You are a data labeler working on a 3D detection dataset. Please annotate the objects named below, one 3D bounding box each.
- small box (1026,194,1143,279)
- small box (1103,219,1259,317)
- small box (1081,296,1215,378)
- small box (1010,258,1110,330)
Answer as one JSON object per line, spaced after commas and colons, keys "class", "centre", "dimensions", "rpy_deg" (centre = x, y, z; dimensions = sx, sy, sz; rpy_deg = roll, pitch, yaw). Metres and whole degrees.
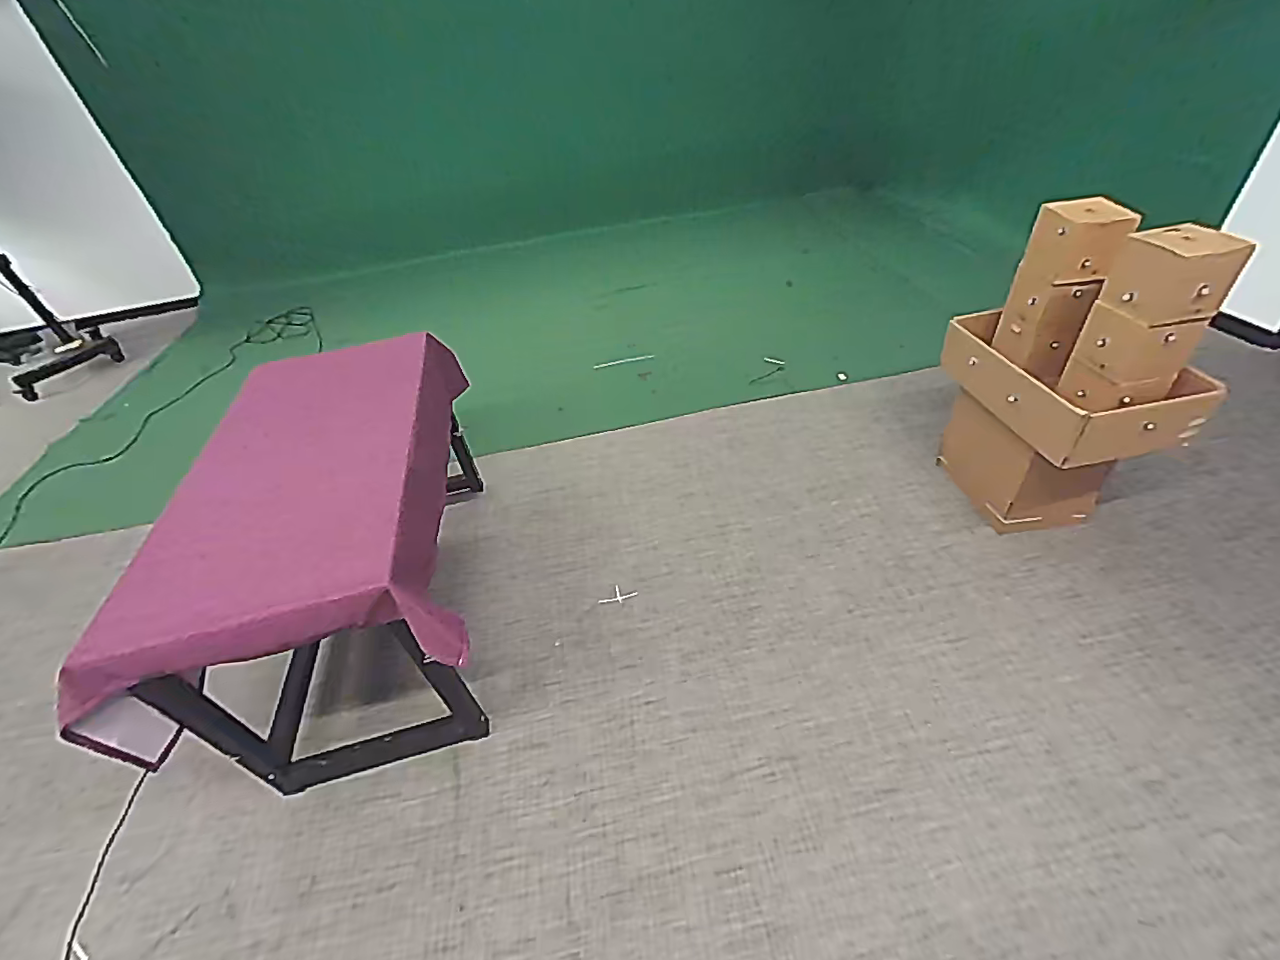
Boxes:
{"class": "small box", "centre": [1.243, -0.688, 1.532], "dimensions": [0.168, 0.176, 0.179], "rpy_deg": [-5, 43, 4]}
{"class": "small box", "centre": [1.292, -0.508, 1.309], "dimensions": [0.168, 0.176, 0.179], "rpy_deg": [-10, 41, 0]}
{"class": "small box", "centre": [1.311, -0.386, 1.418], "dimensions": [0.179, 0.176, 0.168], "rpy_deg": [-11, 41, -1]}
{"class": "small box", "centre": [1.267, -0.572, 1.643], "dimensions": [0.179, 0.176, 0.168], "rpy_deg": [-7, 42, 2]}
